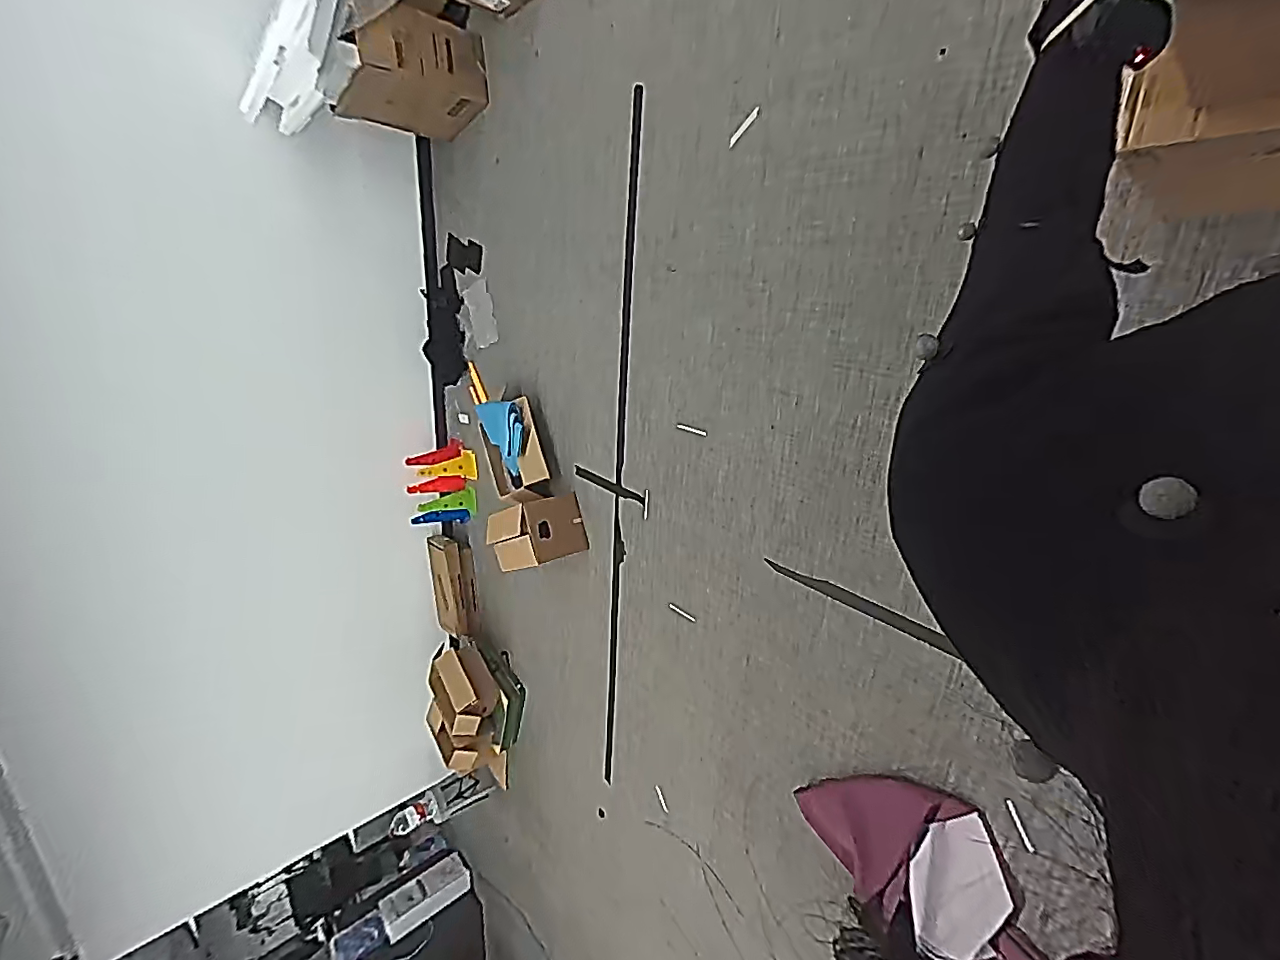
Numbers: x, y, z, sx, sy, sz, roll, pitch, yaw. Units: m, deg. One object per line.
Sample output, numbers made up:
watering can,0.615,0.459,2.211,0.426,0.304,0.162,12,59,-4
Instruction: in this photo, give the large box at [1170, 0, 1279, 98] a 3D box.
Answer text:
large box,0.642,-0.501,0.329,0.408,0.320,0.320,18,115,45
